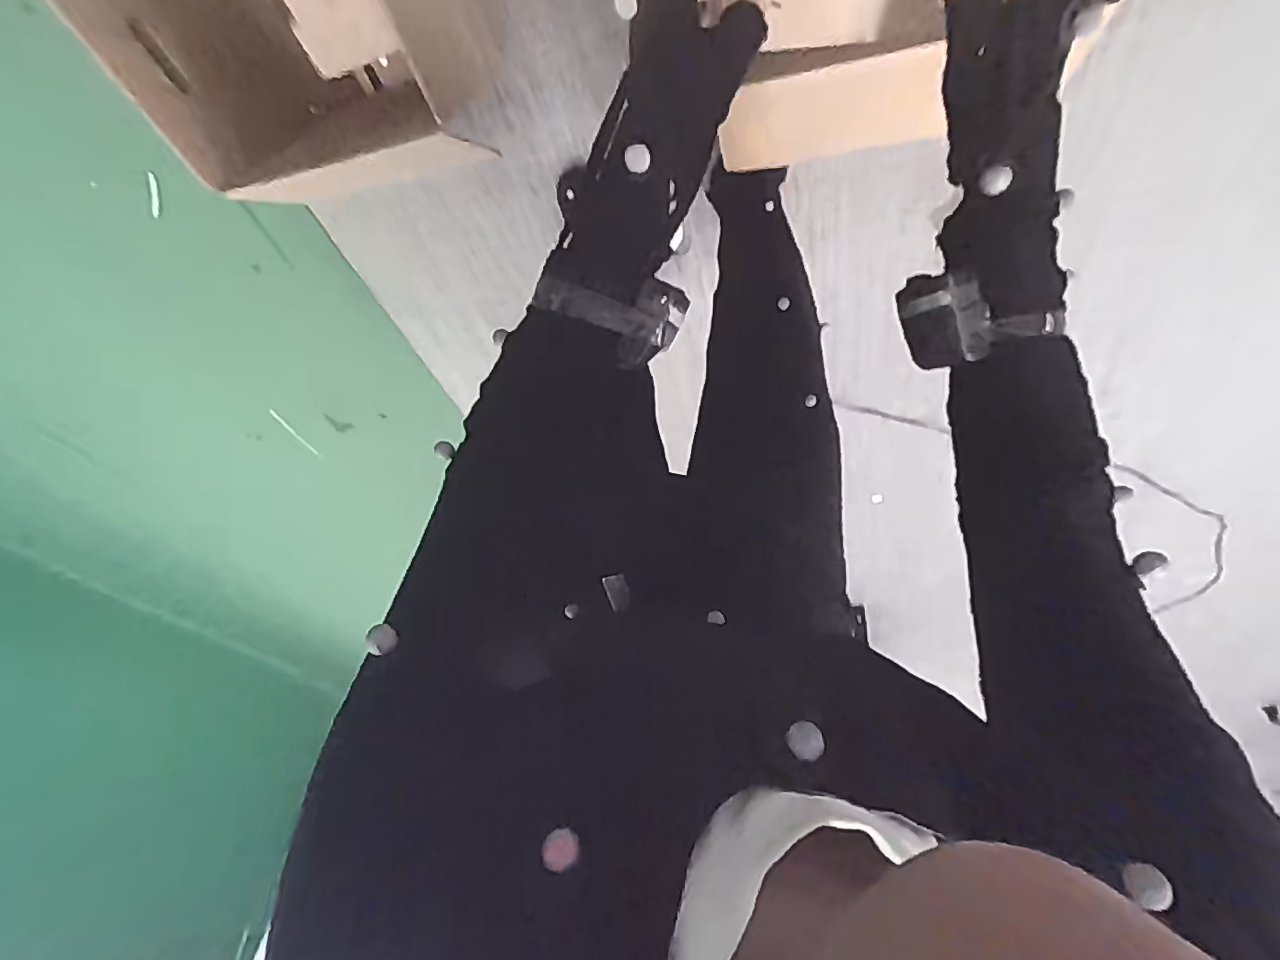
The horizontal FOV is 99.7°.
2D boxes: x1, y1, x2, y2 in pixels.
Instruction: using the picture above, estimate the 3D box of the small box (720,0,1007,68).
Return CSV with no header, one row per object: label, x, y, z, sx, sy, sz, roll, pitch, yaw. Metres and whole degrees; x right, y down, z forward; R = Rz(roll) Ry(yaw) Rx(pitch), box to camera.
small box,0.141,-0.395,0.340,0.179,0.176,0.168,0,145,8
